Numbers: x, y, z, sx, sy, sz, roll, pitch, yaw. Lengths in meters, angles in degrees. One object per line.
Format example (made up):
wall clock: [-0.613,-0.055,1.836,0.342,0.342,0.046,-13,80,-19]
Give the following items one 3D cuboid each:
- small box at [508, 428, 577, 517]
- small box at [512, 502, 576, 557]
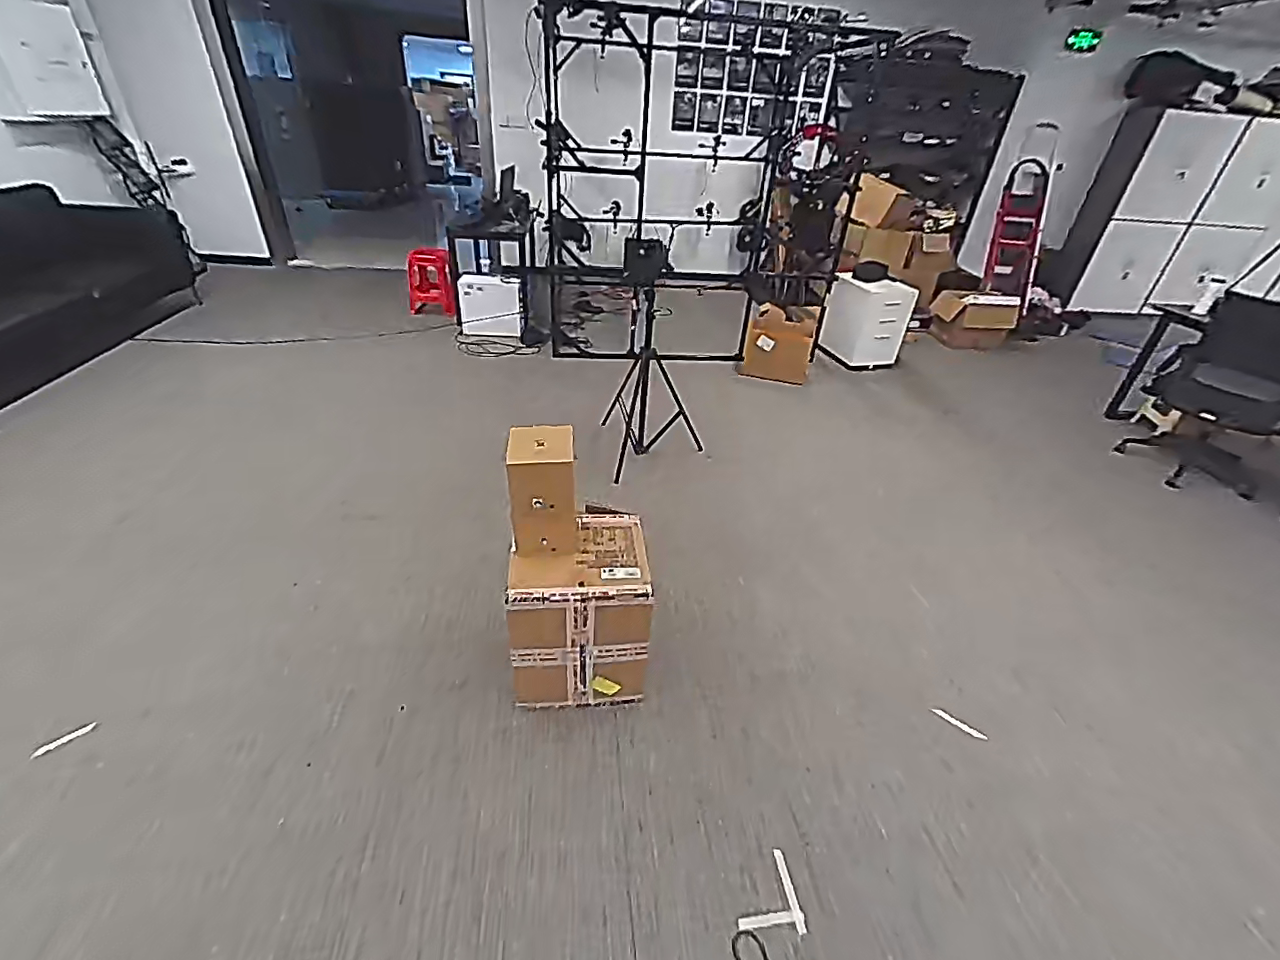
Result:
small box: [-0.253,-0.021,1.430,0.168,0.176,0.179,-3,37,-7]
small box: [-0.268,0.098,1.542,0.168,0.176,0.179,-2,37,-7]
